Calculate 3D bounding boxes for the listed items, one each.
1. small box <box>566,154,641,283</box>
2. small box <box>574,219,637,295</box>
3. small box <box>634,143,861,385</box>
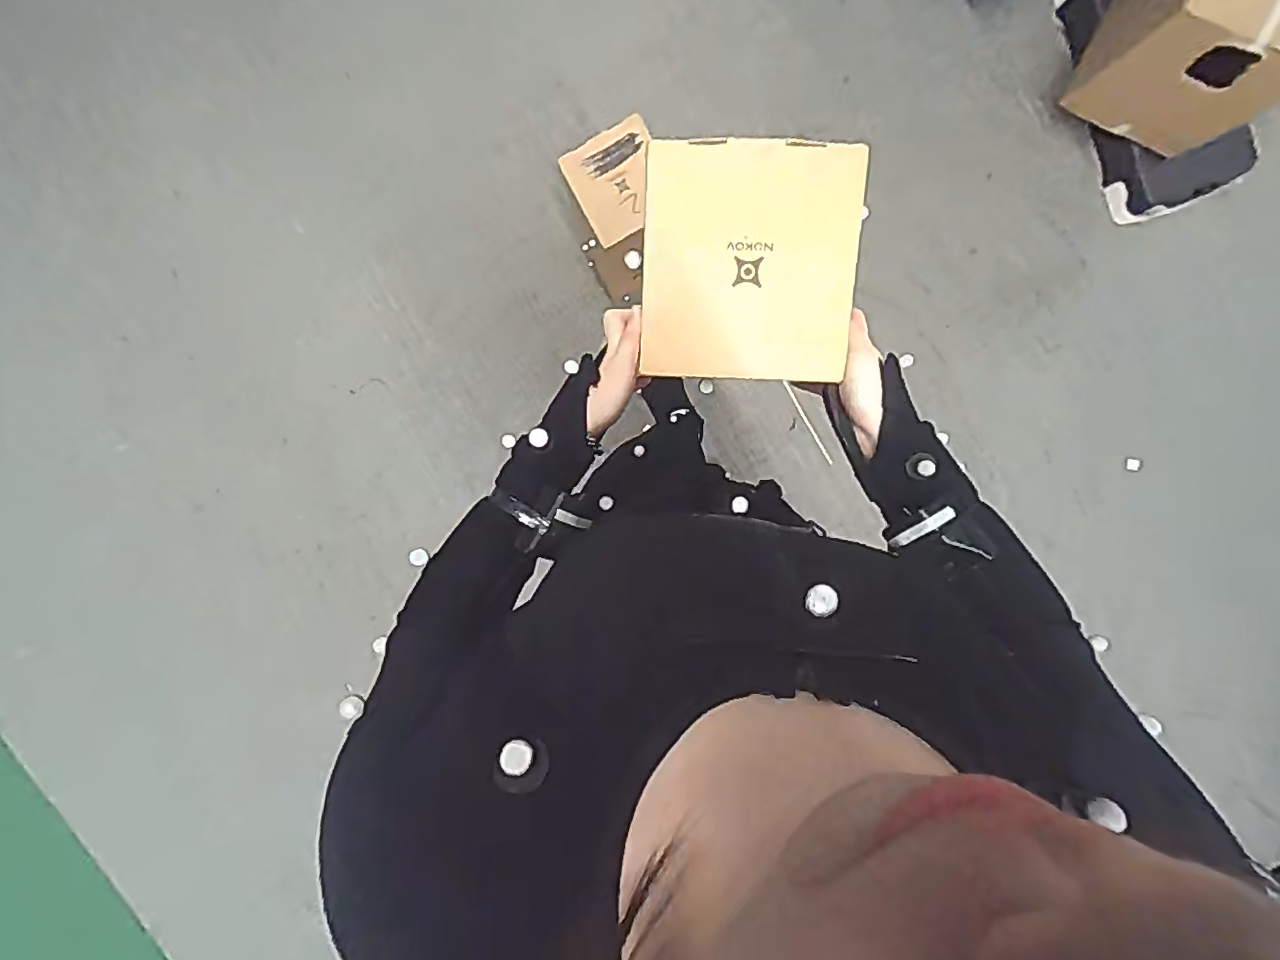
[{"bbox_3d":[-0.038,-0.557,1.180,0.179,0.176,0.168,-28,96,3],"label":"small box"},{"bbox_3d":[-0.042,-0.581,1.342,0.168,0.176,0.179,-29,95,4],"label":"small box"},{"bbox_3d":[0.083,-0.181,0.497,0.168,0.176,0.179,2,101,2],"label":"small box"}]
